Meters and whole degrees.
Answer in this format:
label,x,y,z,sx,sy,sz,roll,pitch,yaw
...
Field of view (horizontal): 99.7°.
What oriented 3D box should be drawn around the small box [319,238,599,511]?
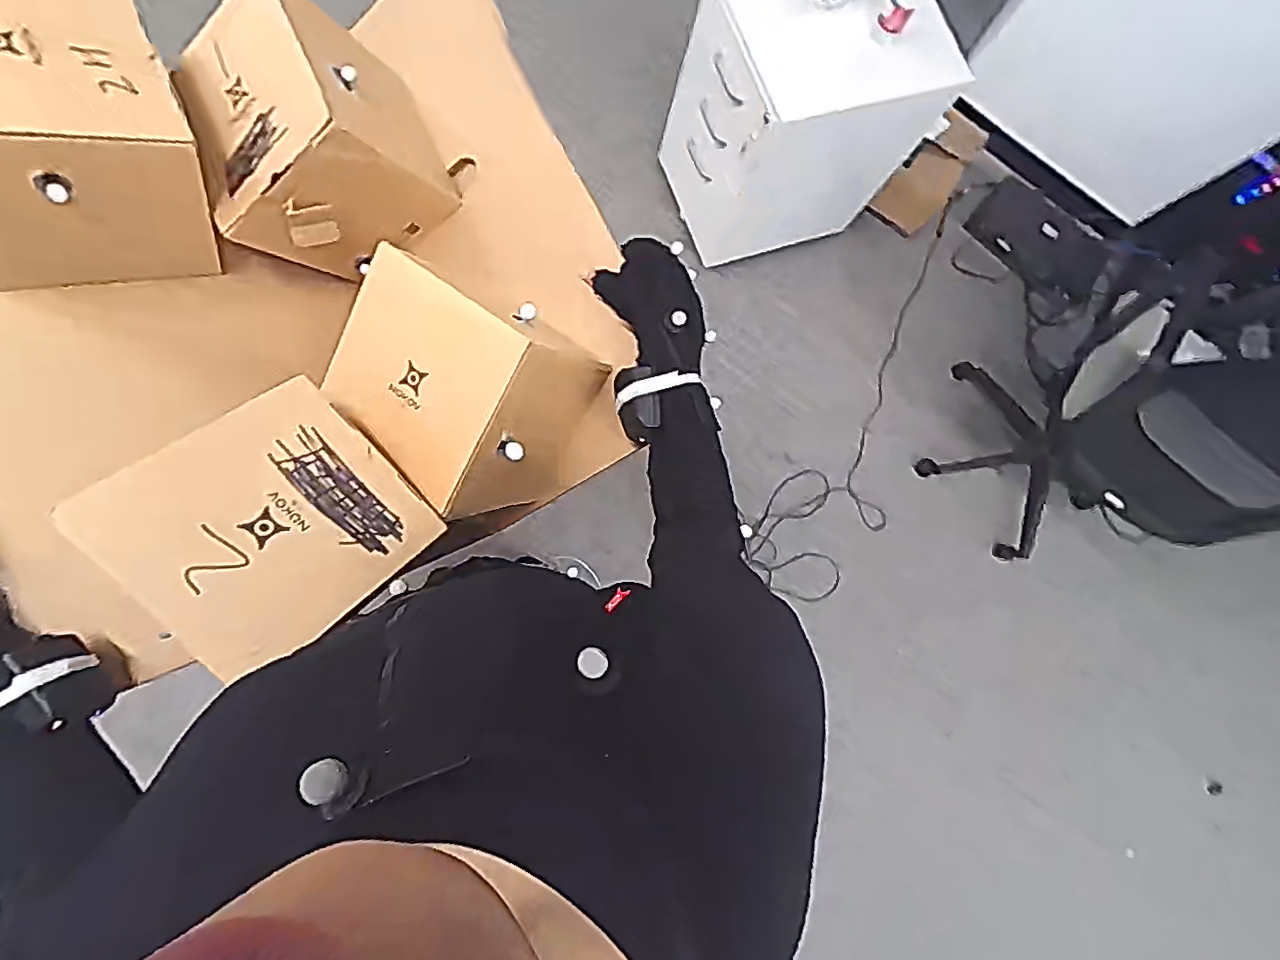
label,x,y,z,sx,sy,sz,roll,pitch,yaw
small box,-0.161,-0.097,0.530,0.168,0.176,0.179,34,107,13
